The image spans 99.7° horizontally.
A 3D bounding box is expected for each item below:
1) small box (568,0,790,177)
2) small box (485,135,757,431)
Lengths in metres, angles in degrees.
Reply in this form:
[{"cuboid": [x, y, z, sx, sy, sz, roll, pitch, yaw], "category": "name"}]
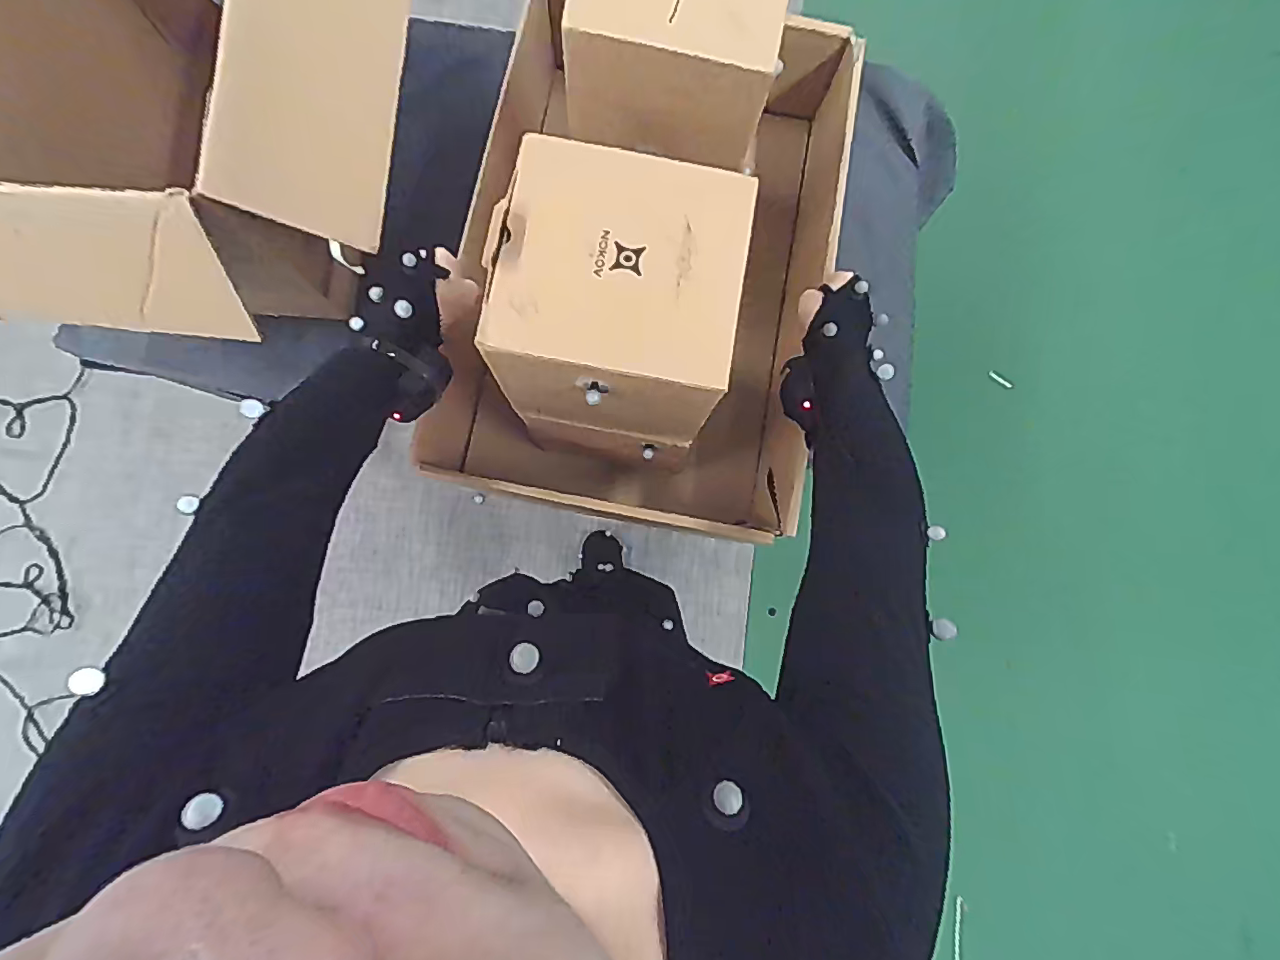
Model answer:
[{"cuboid": [0.034, -0.398, 0.499, 0.168, 0.176, 0.179, 12, 84, -3], "category": "small box"}, {"cuboid": [-0.016, -0.149, 0.468, 0.179, 0.176, 0.168, 10, 82, -4], "category": "small box"}]
